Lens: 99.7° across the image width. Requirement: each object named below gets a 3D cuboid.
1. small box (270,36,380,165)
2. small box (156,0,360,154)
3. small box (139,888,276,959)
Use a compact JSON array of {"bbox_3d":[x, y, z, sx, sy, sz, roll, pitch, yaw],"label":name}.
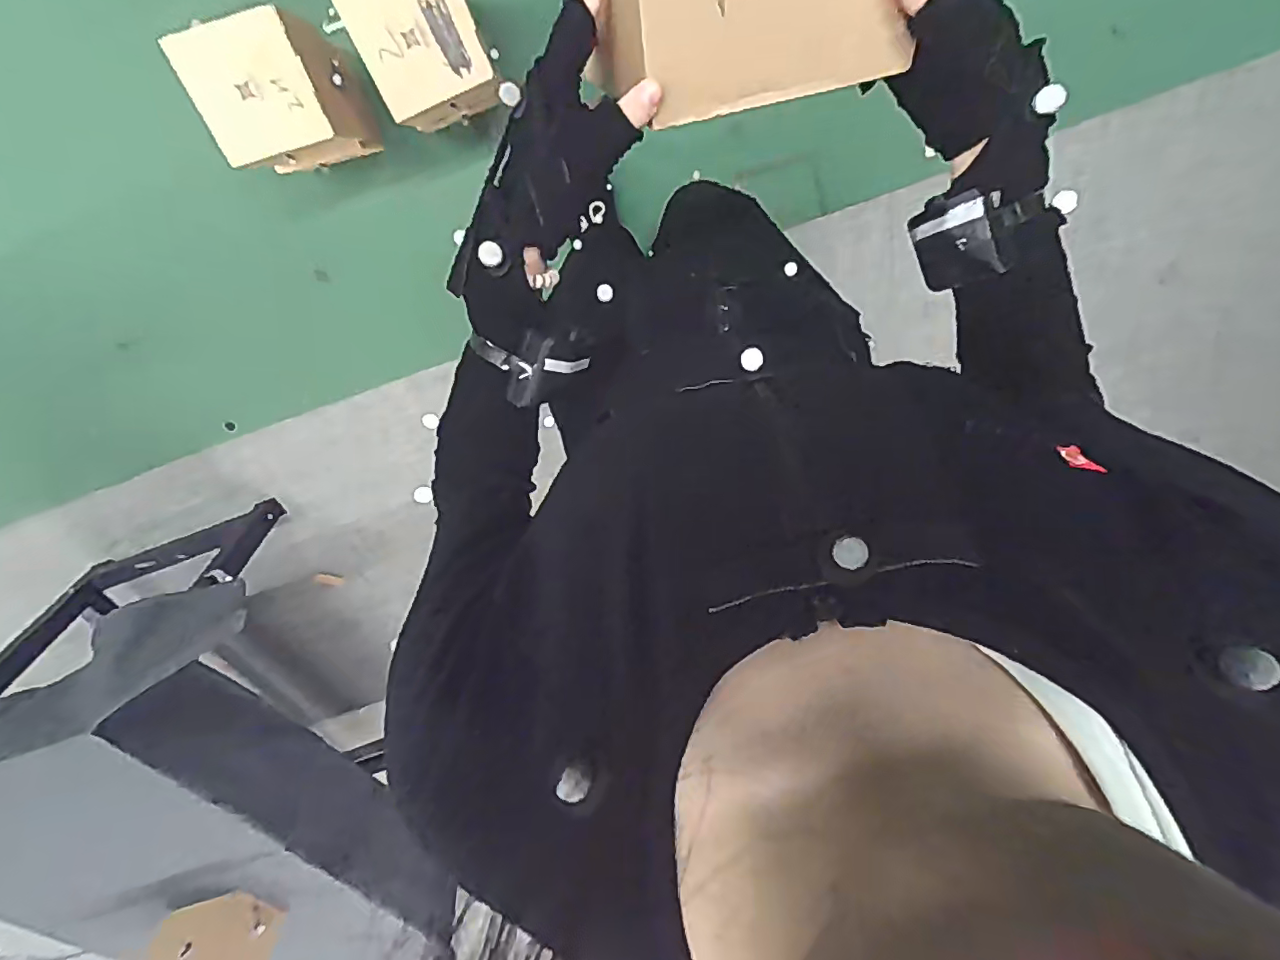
[{"bbox_3d":[-0.618,-0.709,1.008,0.168,0.176,0.179,-15,122,0],"label":"small box"},{"bbox_3d":[-0.589,-0.634,0.864,0.179,0.176,0.168,-16,123,1],"label":"small box"},{"bbox_3d":[-0.943,1.029,1.170,0.179,0.176,0.168,-19,123,2],"label":"small box"}]
